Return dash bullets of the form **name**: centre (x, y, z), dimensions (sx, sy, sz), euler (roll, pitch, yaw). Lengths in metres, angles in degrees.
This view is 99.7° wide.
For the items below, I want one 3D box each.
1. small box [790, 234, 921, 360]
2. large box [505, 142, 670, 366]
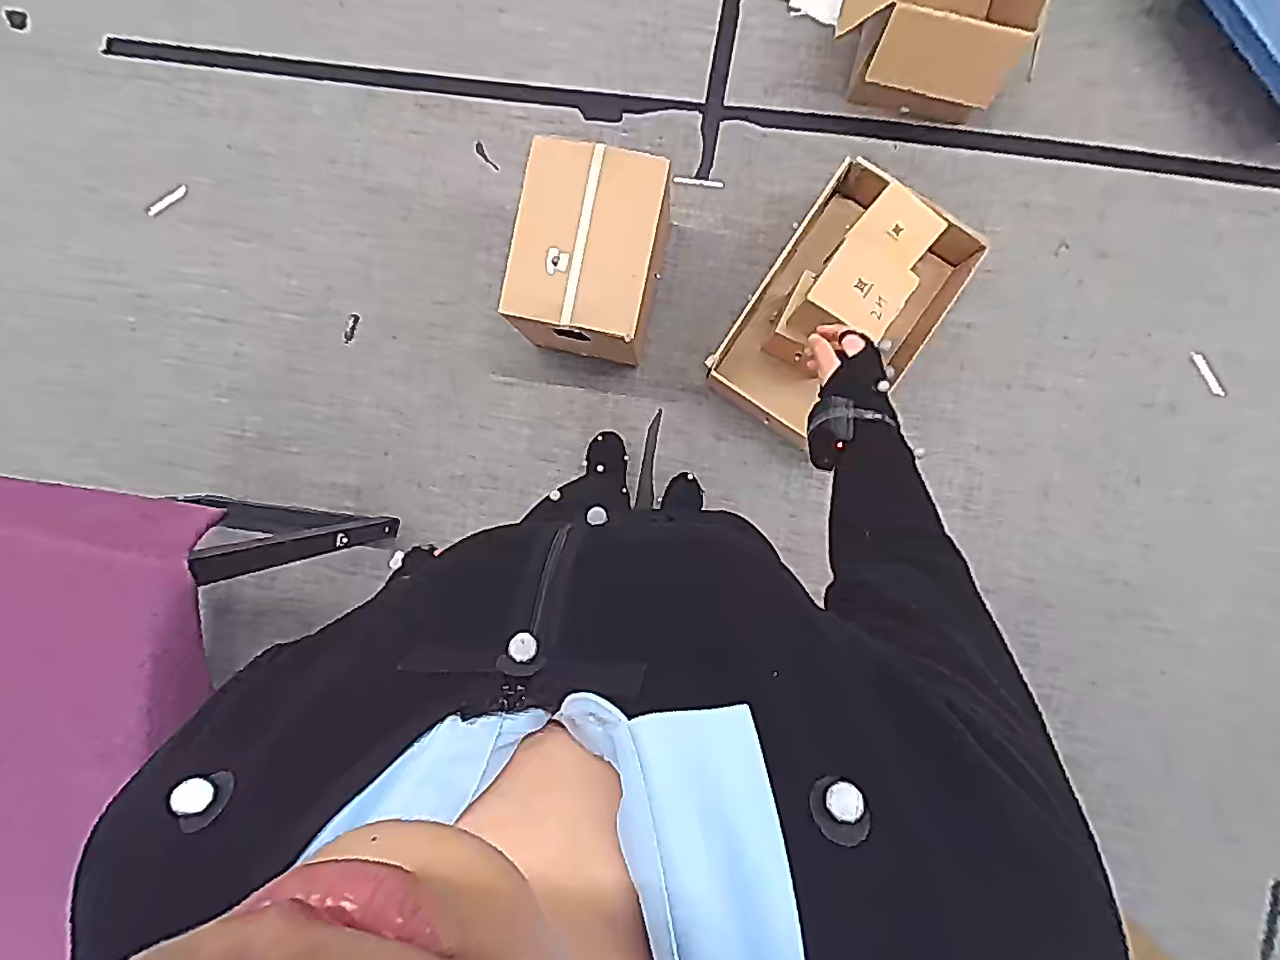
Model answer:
- **small box**: centre (0.453, -0.383, 1.169), dimensions (0.179, 0.176, 0.168), euler (35, 90, 1)
- **large box**: centre (-0.111, -0.530, 1.337), dimensions (0.320, 0.320, 0.408), euler (11, 93, 3)
